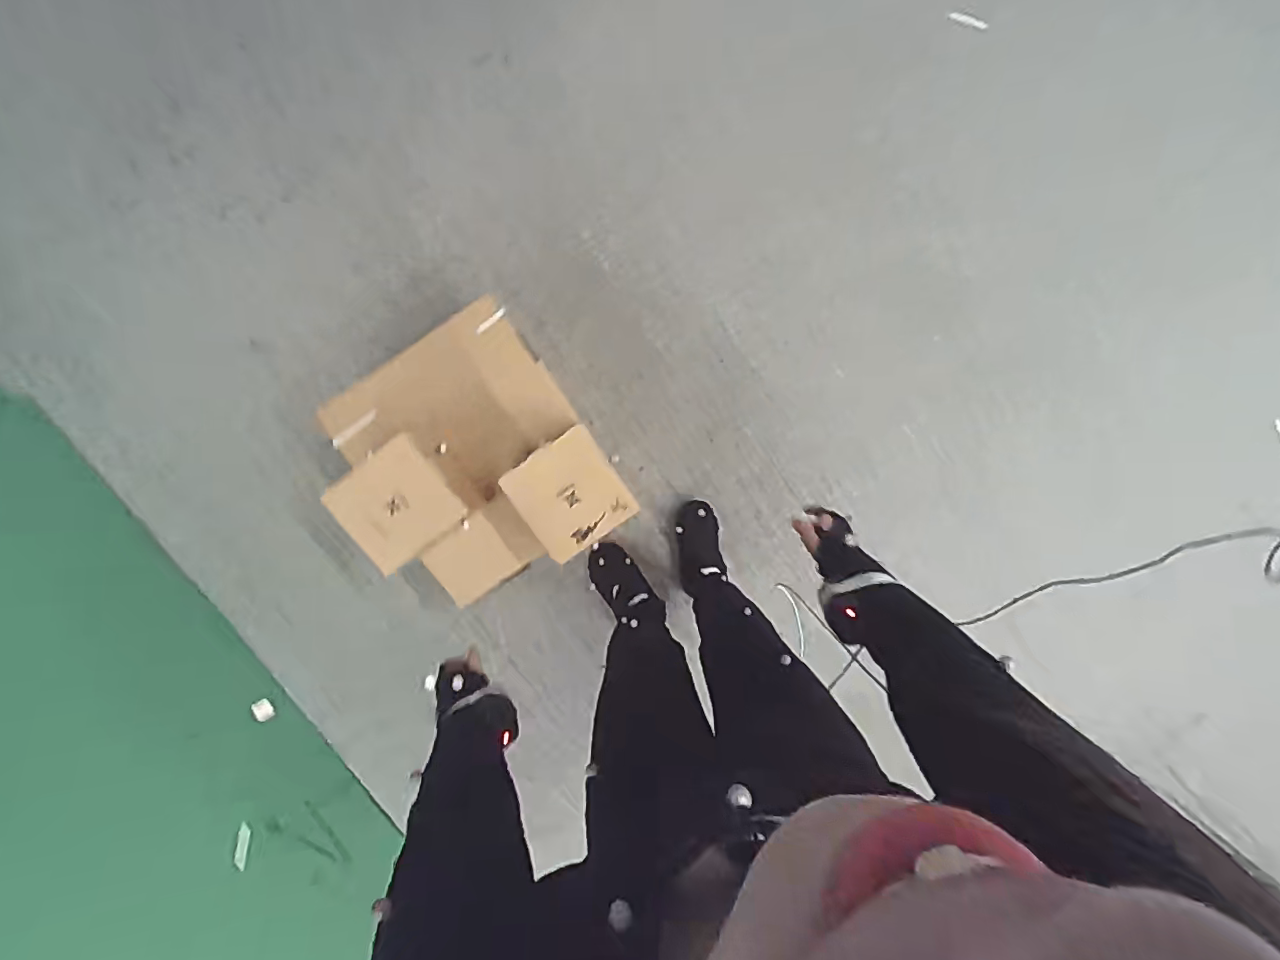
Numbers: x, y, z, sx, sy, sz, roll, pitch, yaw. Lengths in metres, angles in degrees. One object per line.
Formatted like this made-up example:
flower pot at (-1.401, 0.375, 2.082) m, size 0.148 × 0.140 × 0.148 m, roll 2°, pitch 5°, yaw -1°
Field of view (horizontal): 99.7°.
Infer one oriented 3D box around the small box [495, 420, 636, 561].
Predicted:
small box at (-0.125, 0.014, 0.951) m, size 0.168 × 0.176 × 0.179 m, roll -34°, pitch 96°, yaw 0°

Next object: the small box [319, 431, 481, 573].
small box at (-0.398, 0.029, 0.941) m, size 0.179 × 0.176 × 0.168 m, roll -38°, pitch 94°, yaw 1°
